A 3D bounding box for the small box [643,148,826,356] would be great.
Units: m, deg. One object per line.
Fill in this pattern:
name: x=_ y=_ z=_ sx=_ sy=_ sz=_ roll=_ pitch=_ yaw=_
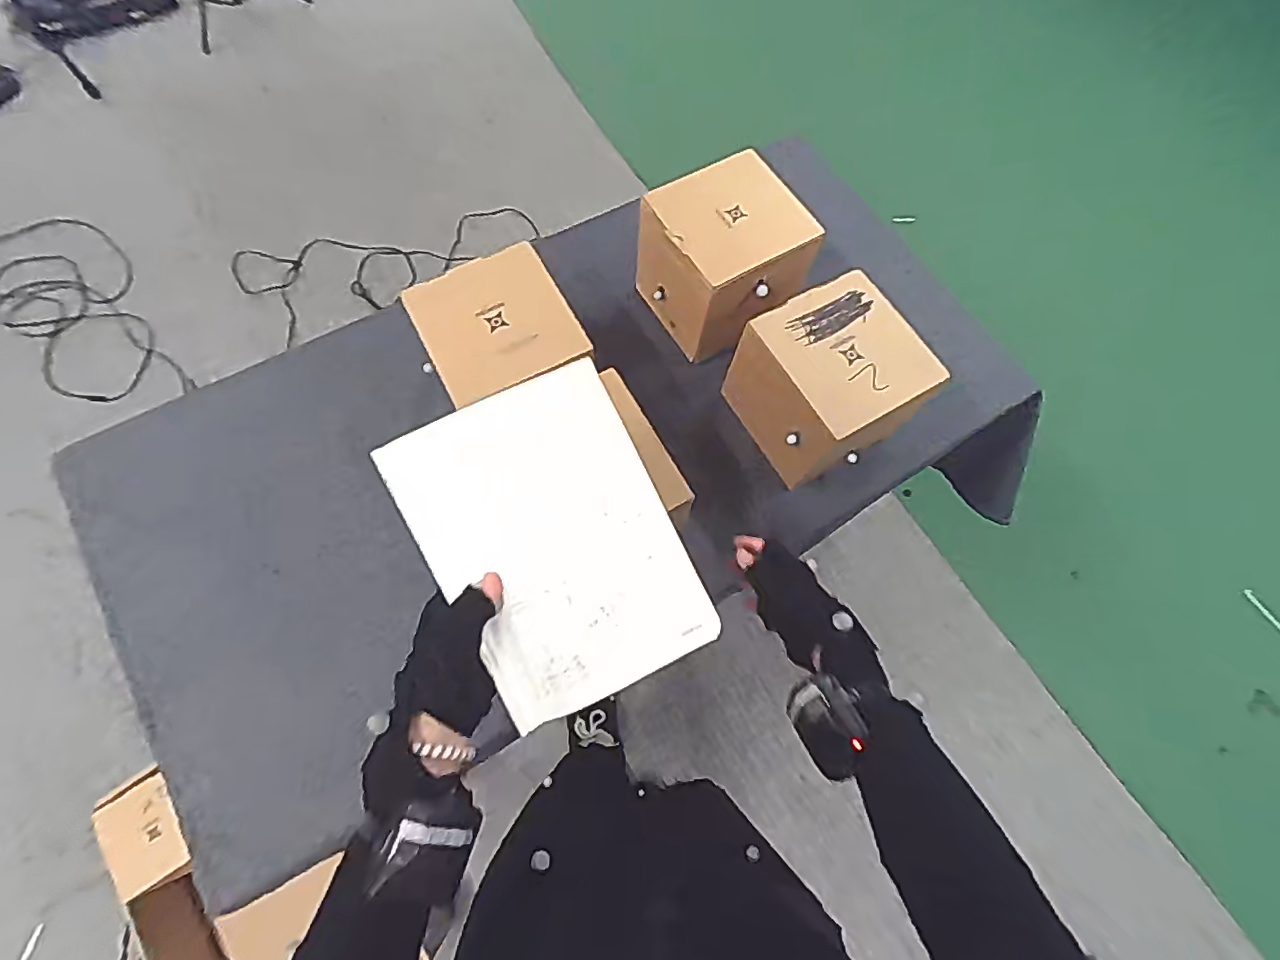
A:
small box: x=0.116 y=-0.308 z=0.753 sx=0.179 sy=0.176 sz=0.168 roll=-30 pitch=74 yaw=-11
